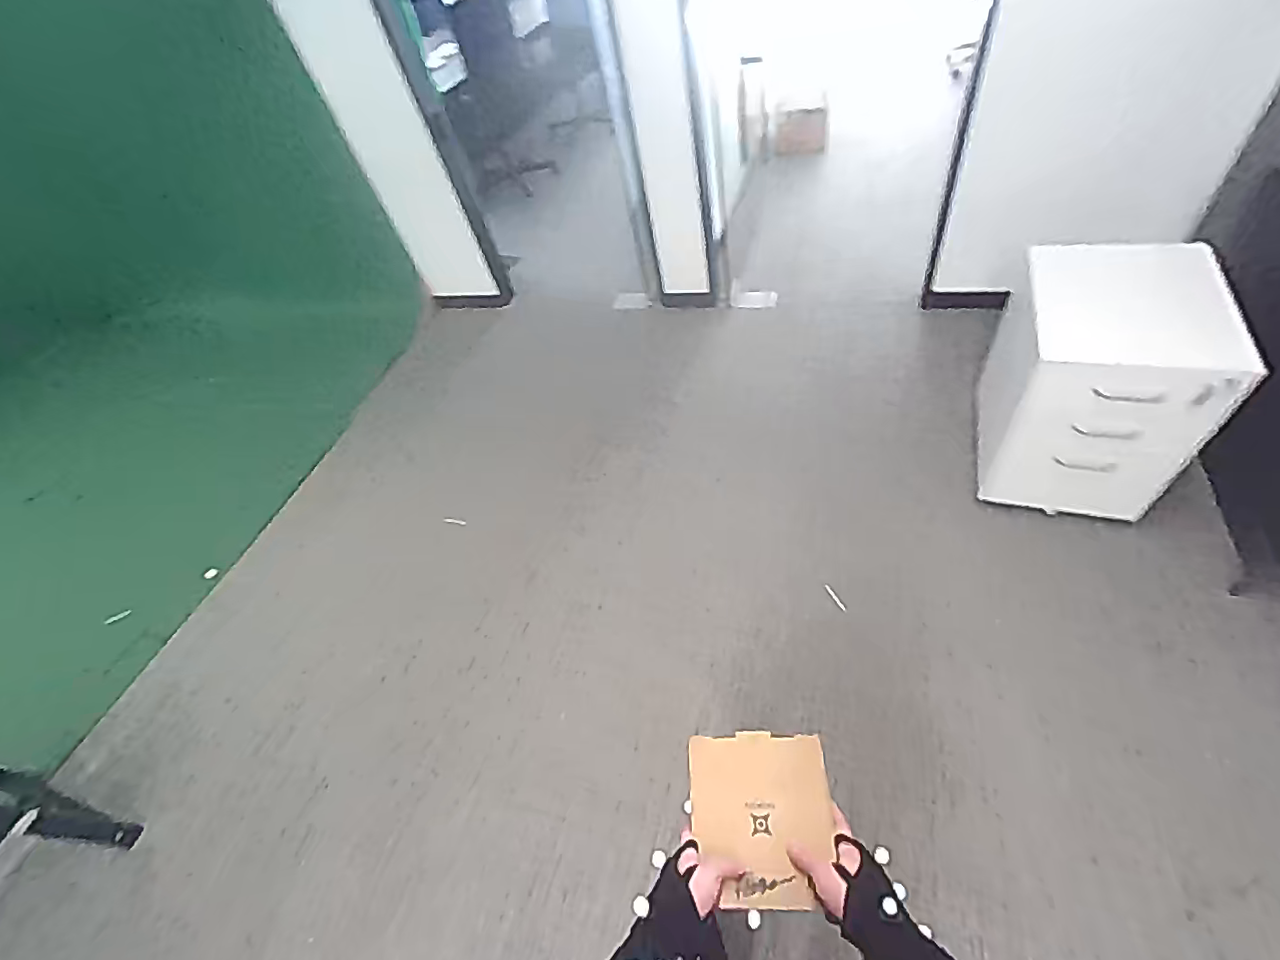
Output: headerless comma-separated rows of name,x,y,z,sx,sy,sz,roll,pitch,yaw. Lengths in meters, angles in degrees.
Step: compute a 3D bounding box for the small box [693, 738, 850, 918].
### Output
small box,0.154,0.445,0.692,0.168,0.176,0.179,-4,52,7
